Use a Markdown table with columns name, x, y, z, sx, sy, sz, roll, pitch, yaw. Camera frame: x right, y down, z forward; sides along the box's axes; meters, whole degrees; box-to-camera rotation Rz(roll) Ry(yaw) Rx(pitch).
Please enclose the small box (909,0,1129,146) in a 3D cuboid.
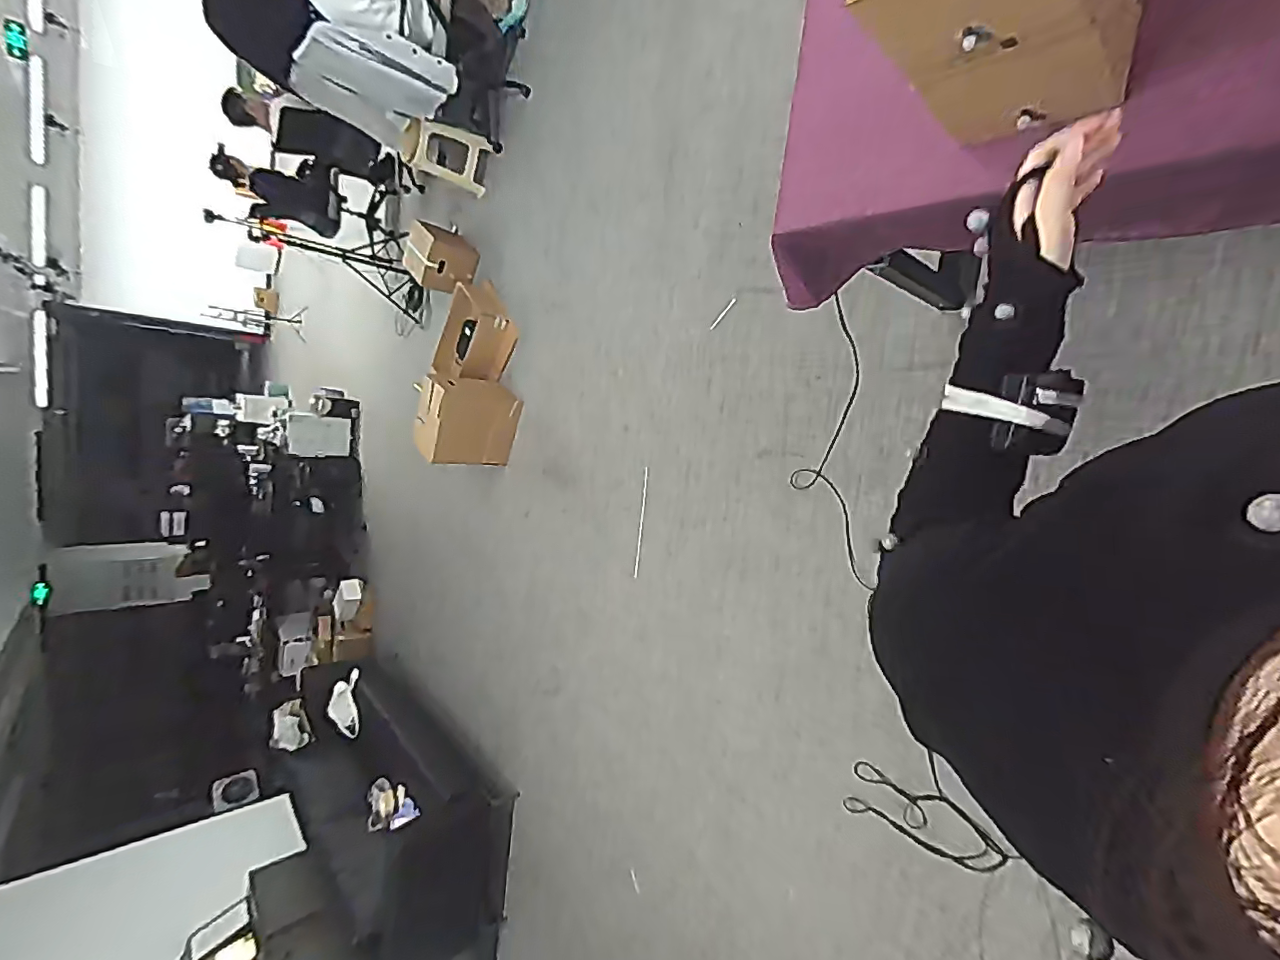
| name | x | y | z | sx | sy | sz | roll | pitch | yaw |
| --- | --- | --- | --- | --- | --- | --- | --- | --- | --- |
| small box | 0.447 | -0.530 | 0.633 | 0.179 | 0.176 | 0.168 | 12 | 98 | 46 |
